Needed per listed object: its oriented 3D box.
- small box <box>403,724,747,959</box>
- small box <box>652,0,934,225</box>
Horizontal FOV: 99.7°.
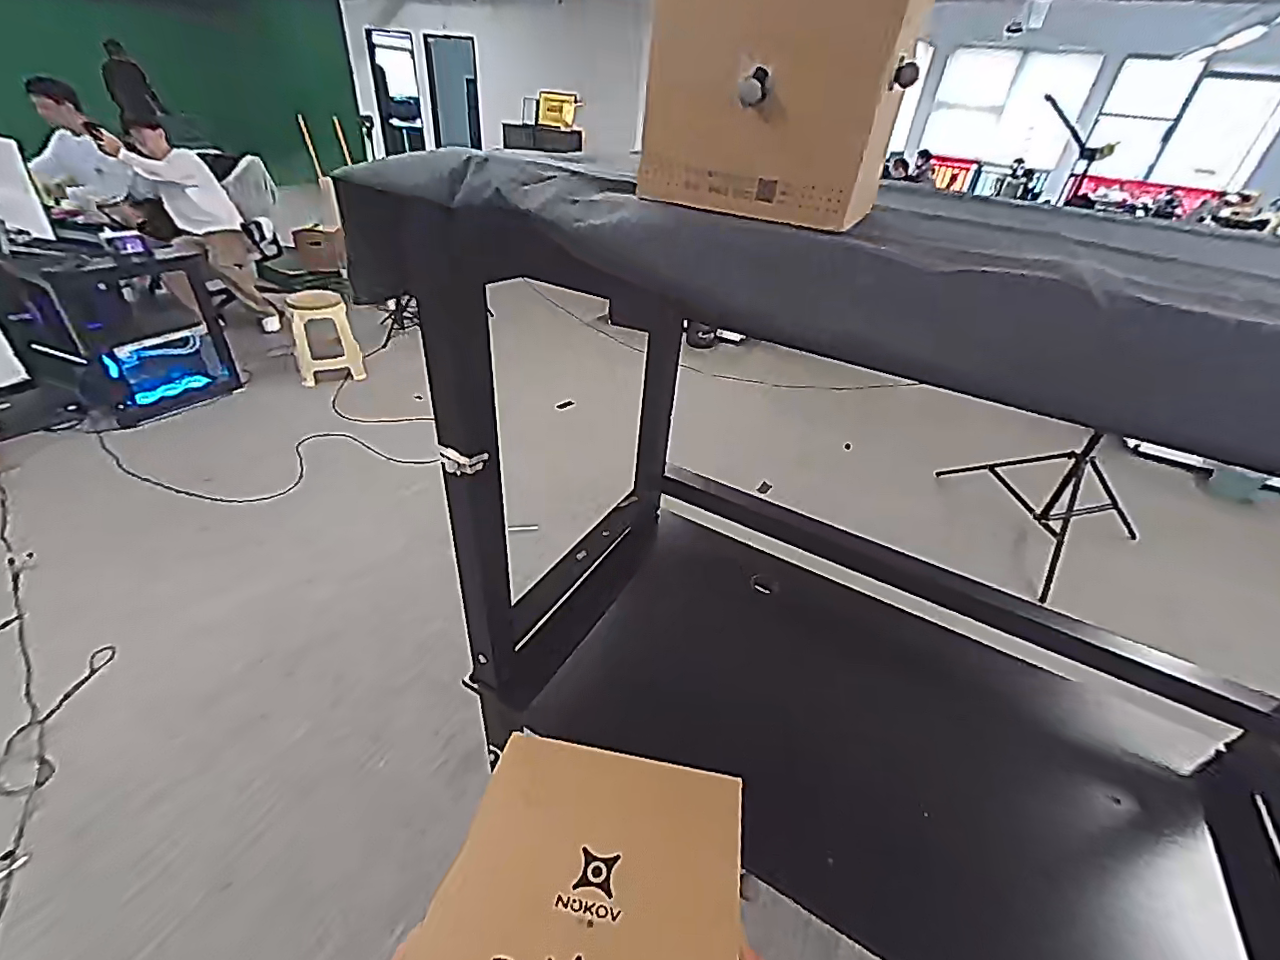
[{"bbox_3d":[-0.029,0.293,0.334,0.168,0.176,0.179,7,27,9],"label":"small box"},{"bbox_3d":[0.118,-0.307,0.423,0.168,0.176,0.179,20,36,17],"label":"small box"}]
